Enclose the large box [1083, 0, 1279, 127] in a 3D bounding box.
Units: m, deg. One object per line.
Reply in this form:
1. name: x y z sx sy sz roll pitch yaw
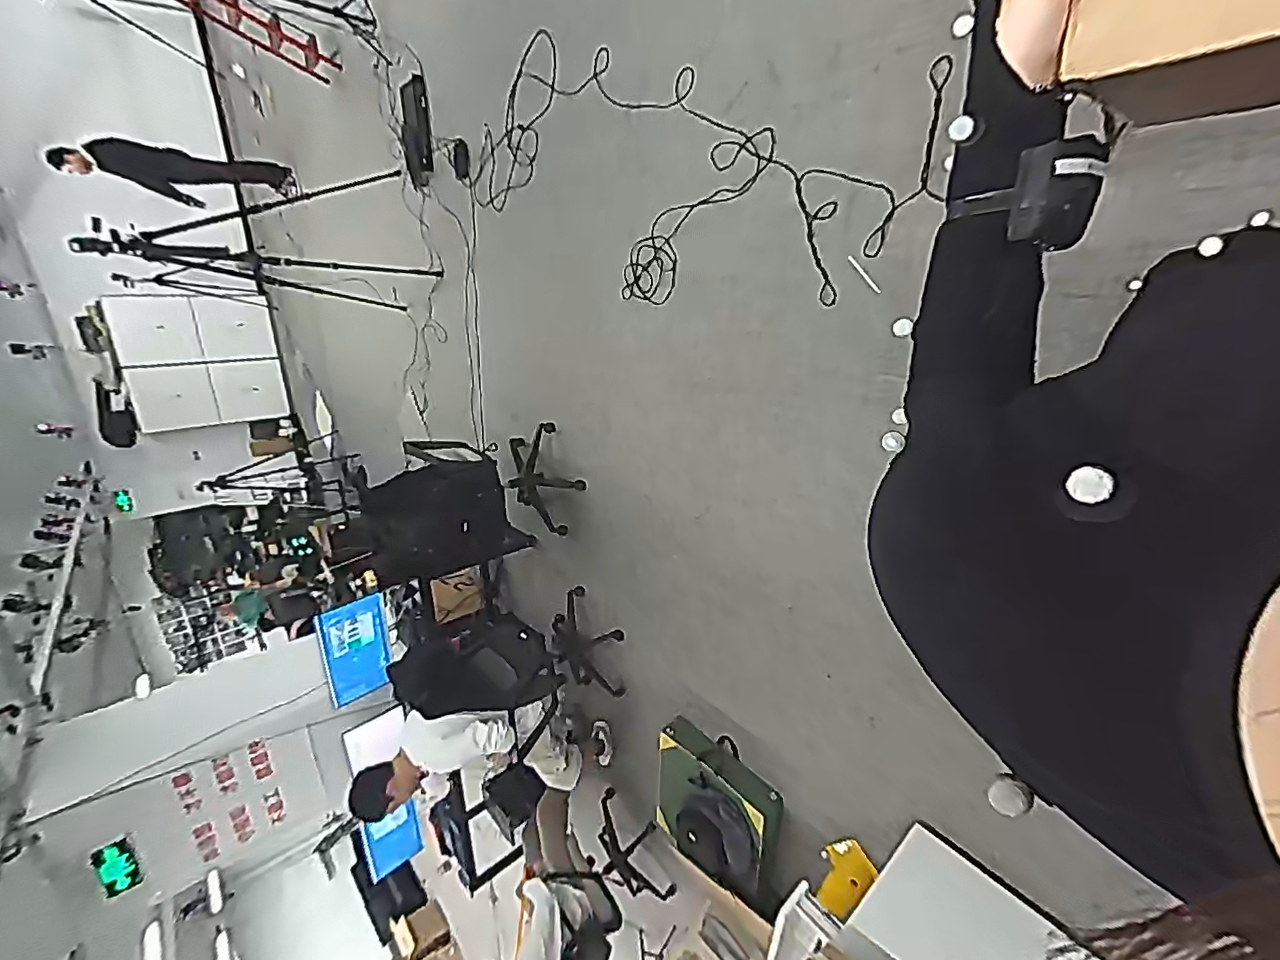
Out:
1. large box: 0.516 -0.412 0.261 0.408 0.320 0.320 16 120 43
